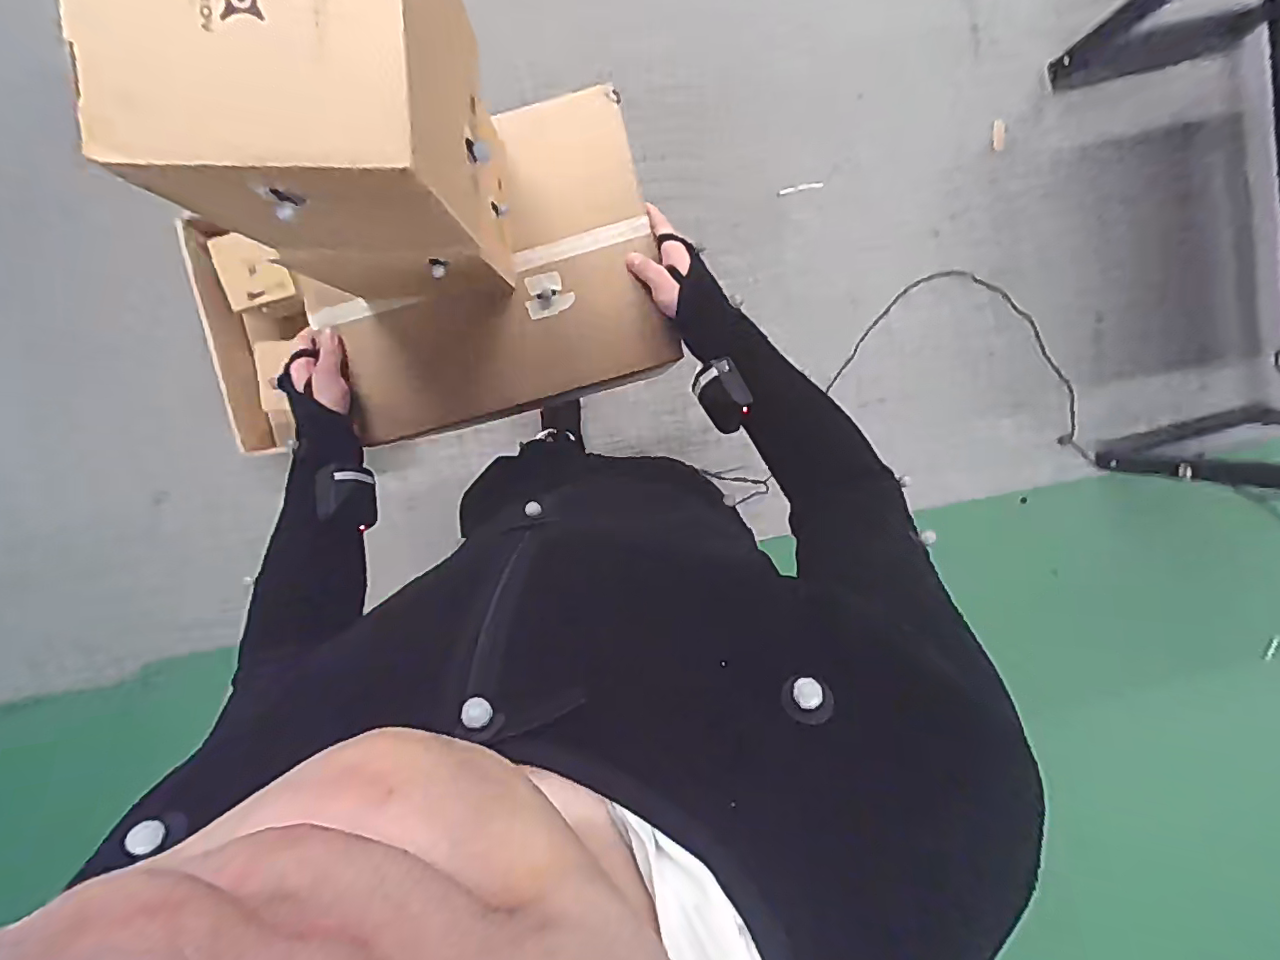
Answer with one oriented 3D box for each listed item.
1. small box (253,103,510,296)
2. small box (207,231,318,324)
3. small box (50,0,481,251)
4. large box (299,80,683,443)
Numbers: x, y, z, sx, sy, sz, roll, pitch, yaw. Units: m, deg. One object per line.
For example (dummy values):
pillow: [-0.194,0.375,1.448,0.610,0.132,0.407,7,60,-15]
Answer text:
small box: [-0.234,-0.279,0.514,0.179,0.176,0.168,-4,97,-1]
small box: [-0.951,-0.522,1.398,0.168,0.176,0.179,-15,98,1]
small box: [-0.214,-0.259,0.353,0.179,0.176,0.168,1,98,-2]
large box: [-0.184,-0.261,0.763,0.408,0.320,0.320,-15,99,0]
